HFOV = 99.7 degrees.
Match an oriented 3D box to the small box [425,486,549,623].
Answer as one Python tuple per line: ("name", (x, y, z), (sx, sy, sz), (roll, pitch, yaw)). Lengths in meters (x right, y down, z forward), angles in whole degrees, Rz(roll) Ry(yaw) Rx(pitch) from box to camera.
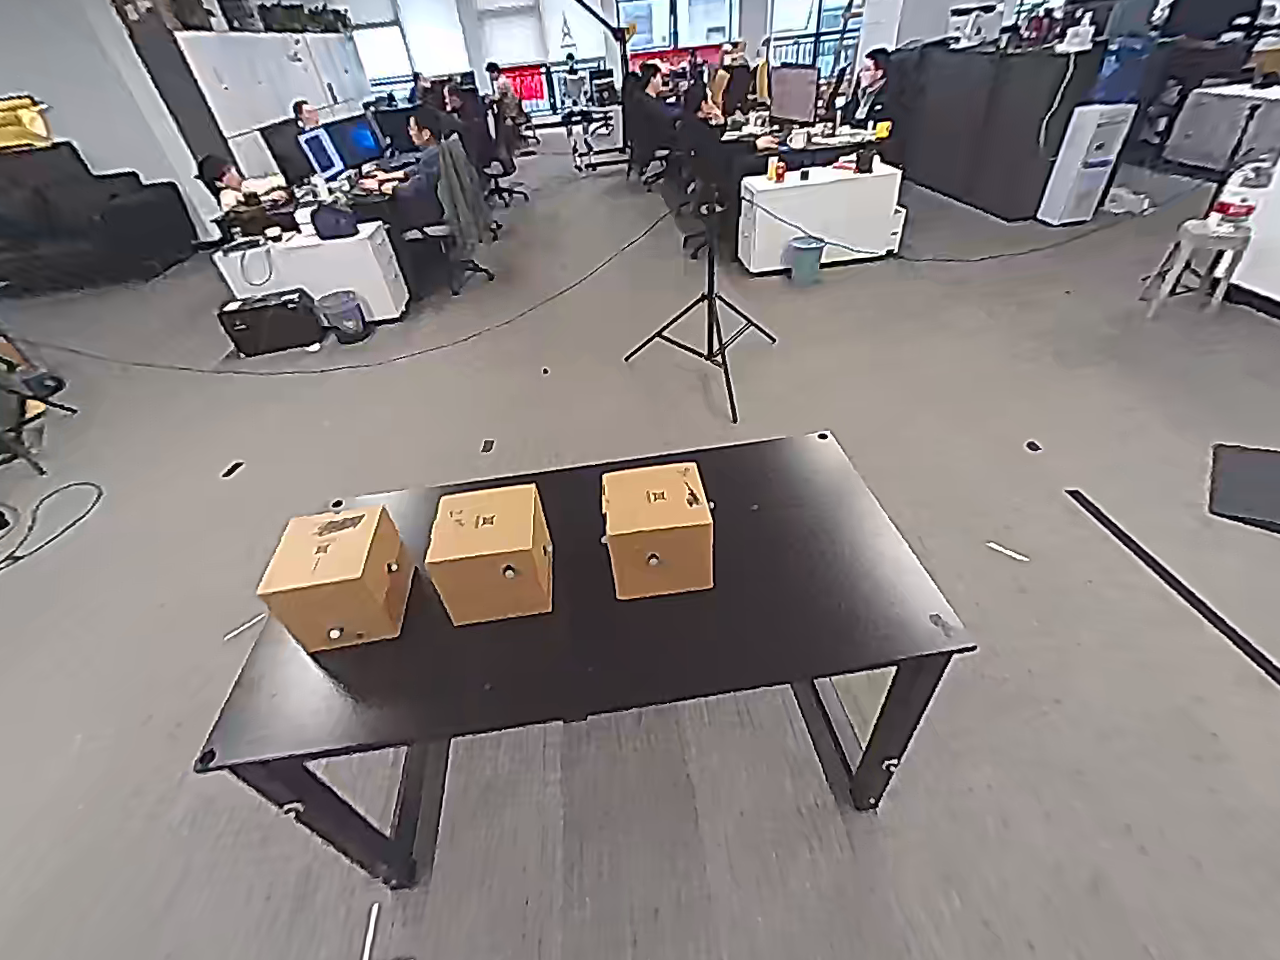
("small box", (-0.262, 0.136, 0.979), (0.179, 0.176, 0.168), (-8, 39, -3))

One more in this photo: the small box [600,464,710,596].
("small box", (0.028, 0.095, 0.992), (0.179, 0.176, 0.168), (-8, 40, 0))

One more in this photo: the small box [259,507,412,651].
("small box", (-0.526, 0.176, 0.968), (0.168, 0.176, 0.179), (-10, 41, -4))
